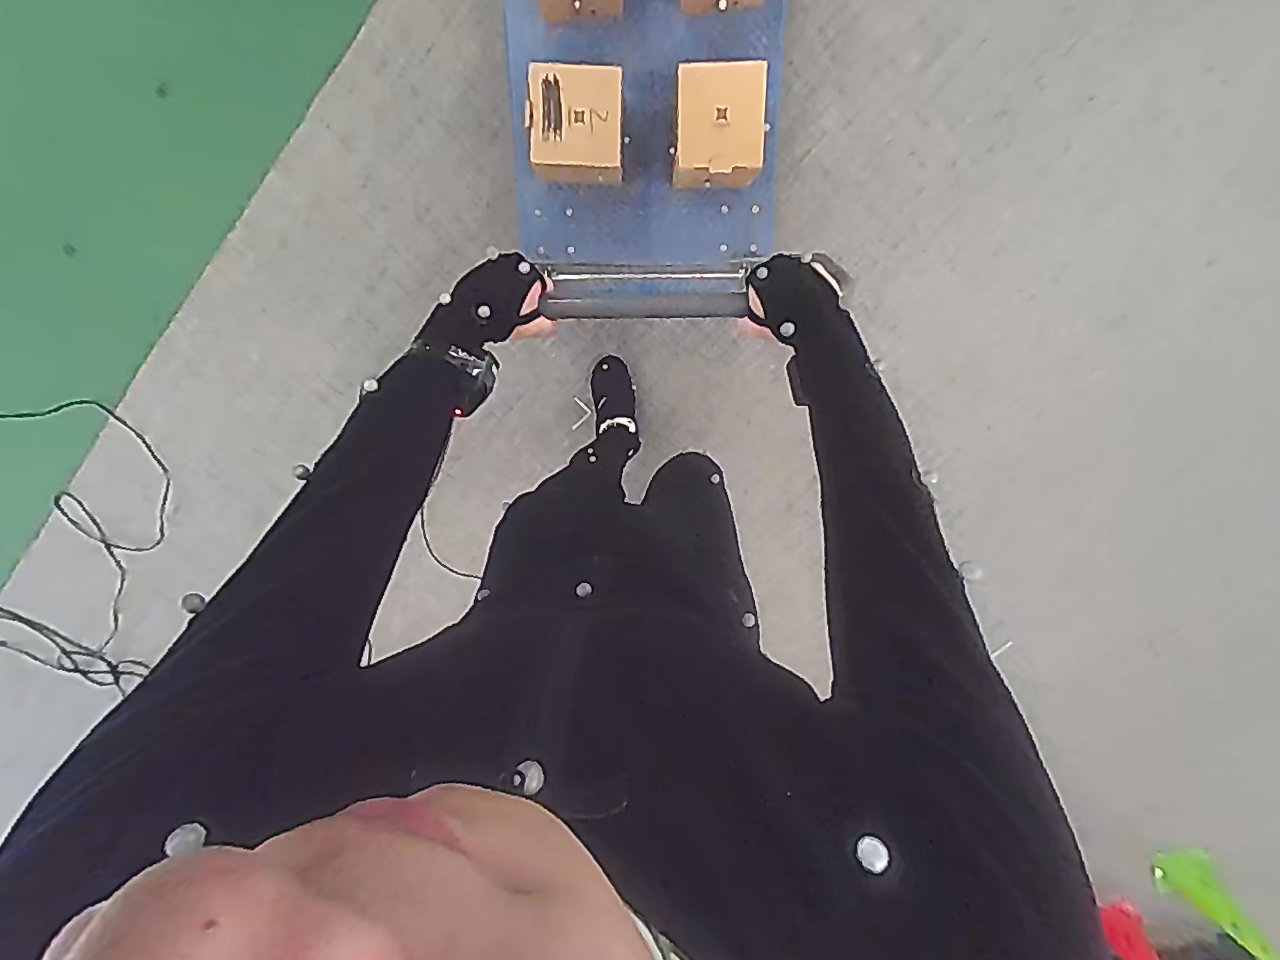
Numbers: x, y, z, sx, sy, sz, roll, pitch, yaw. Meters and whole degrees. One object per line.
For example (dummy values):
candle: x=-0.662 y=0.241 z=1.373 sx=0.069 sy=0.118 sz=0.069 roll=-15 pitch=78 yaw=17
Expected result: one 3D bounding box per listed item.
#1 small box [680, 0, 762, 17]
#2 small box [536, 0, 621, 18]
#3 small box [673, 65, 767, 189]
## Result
small box: x=0.157 y=-1.004 z=0.995 sx=0.168 sy=0.176 sz=0.179 roll=-5 pitch=109 yaw=2
small box: x=-0.123 y=-0.992 z=0.998 sx=0.168 sy=0.176 sz=0.179 roll=-4 pitch=108 yaw=0
small box: x=0.153 y=-0.704 z=1.095 sx=0.168 sy=0.176 sz=0.179 roll=-1 pitch=109 yaw=0
